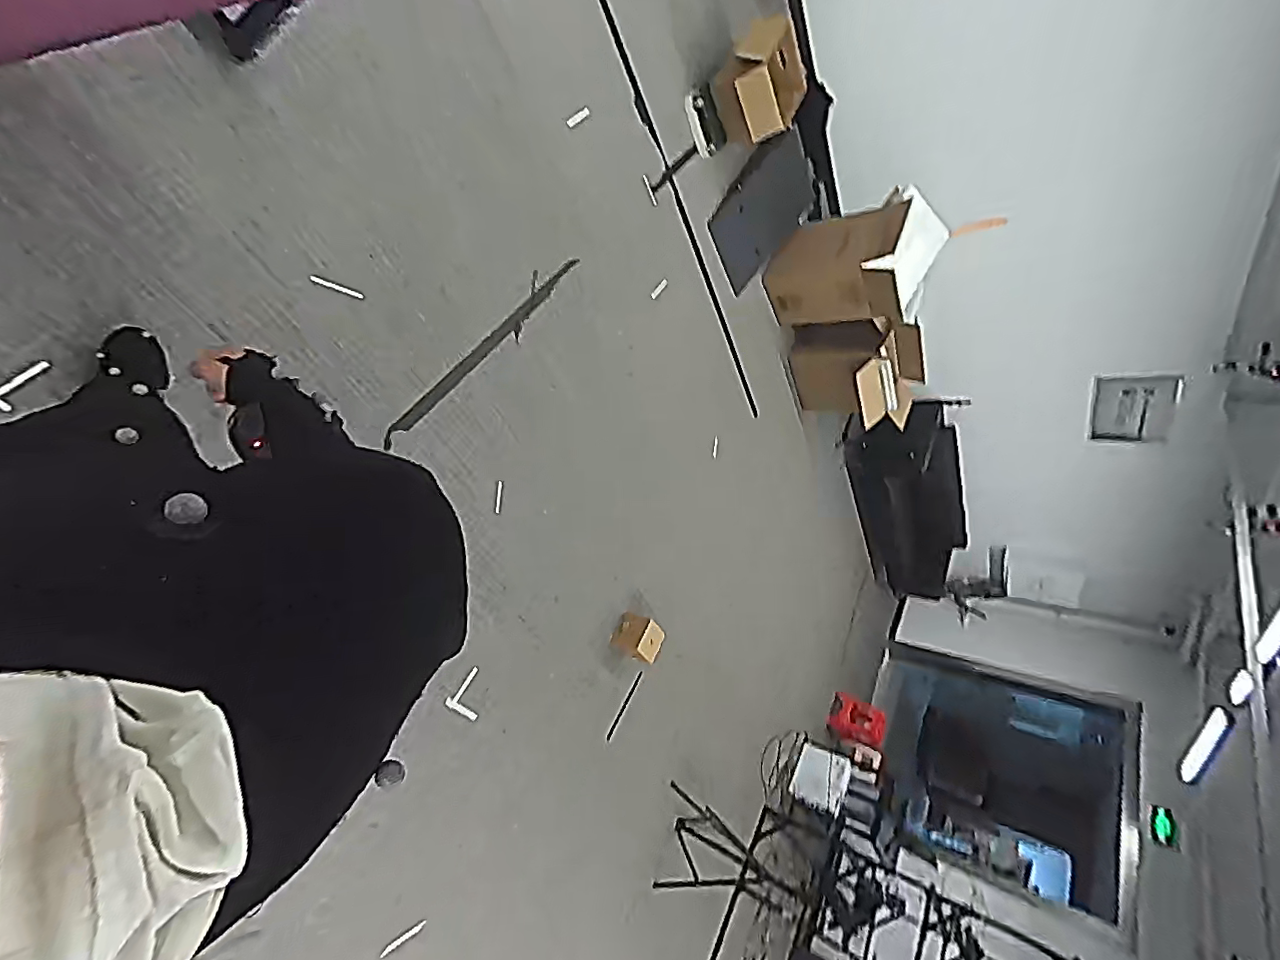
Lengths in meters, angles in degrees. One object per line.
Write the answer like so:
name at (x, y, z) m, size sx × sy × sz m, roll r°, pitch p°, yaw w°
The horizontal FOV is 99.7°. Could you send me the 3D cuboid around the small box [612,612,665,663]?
small box at (-0.008, 0.778, 2.690) m, size 0.168 × 0.176 × 0.179 m, roll -60°, pitch 136°, yaw -28°
